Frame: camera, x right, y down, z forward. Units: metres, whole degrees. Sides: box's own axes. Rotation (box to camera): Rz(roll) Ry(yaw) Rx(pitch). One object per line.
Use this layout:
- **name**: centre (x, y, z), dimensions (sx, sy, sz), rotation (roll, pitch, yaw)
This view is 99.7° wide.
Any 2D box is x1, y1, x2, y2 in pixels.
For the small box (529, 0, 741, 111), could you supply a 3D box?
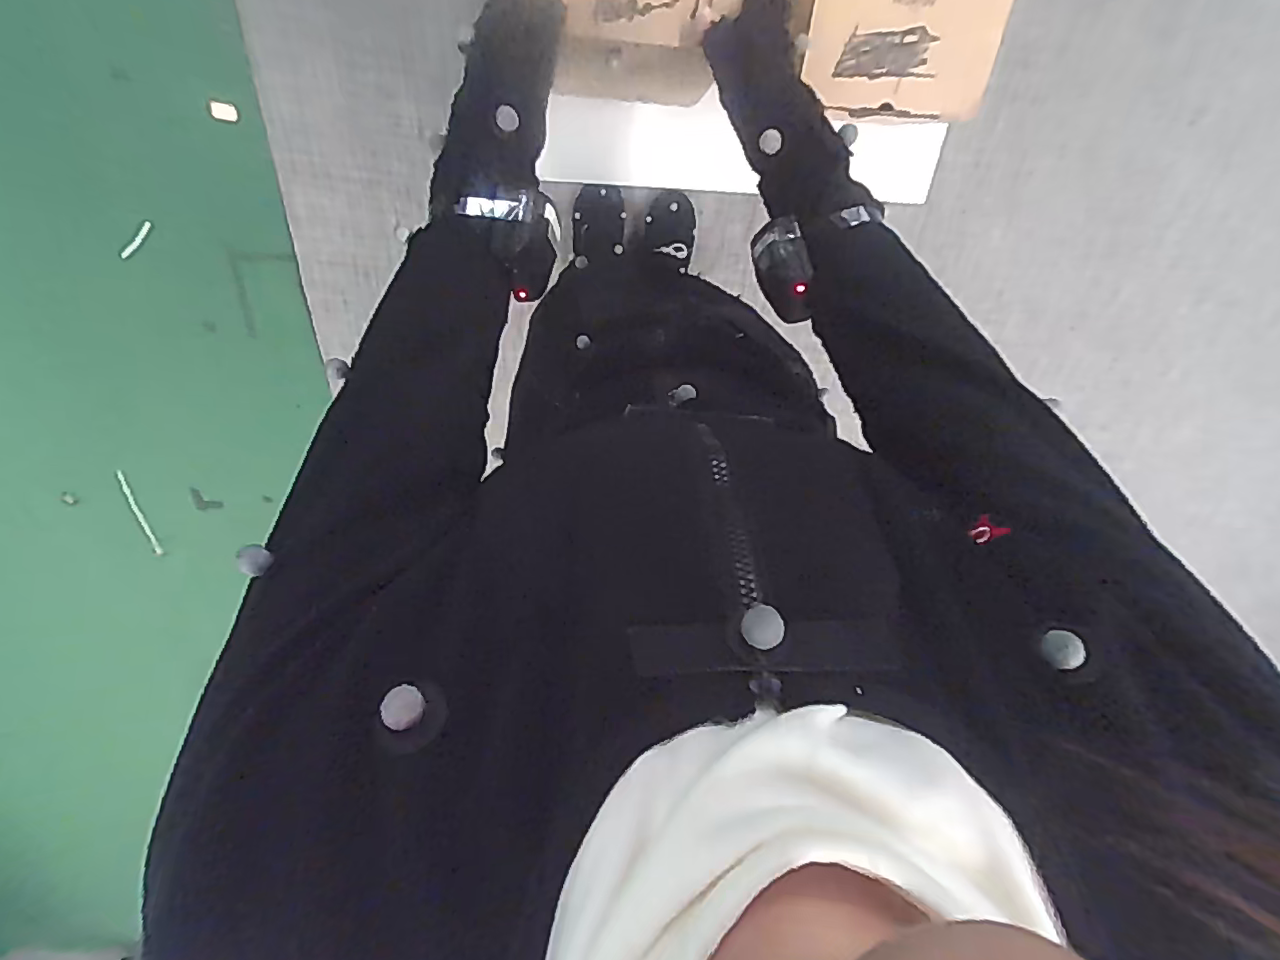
- **small box**: centre (-0.006, -0.457, 0.471), dimensions (0.168, 0.176, 0.179), rotation (2, 108, -5)

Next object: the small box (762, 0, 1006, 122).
- **small box**: centre (0.221, -0.448, 0.508), dimensions (0.168, 0.176, 0.179), rotation (3, 121, -3)
